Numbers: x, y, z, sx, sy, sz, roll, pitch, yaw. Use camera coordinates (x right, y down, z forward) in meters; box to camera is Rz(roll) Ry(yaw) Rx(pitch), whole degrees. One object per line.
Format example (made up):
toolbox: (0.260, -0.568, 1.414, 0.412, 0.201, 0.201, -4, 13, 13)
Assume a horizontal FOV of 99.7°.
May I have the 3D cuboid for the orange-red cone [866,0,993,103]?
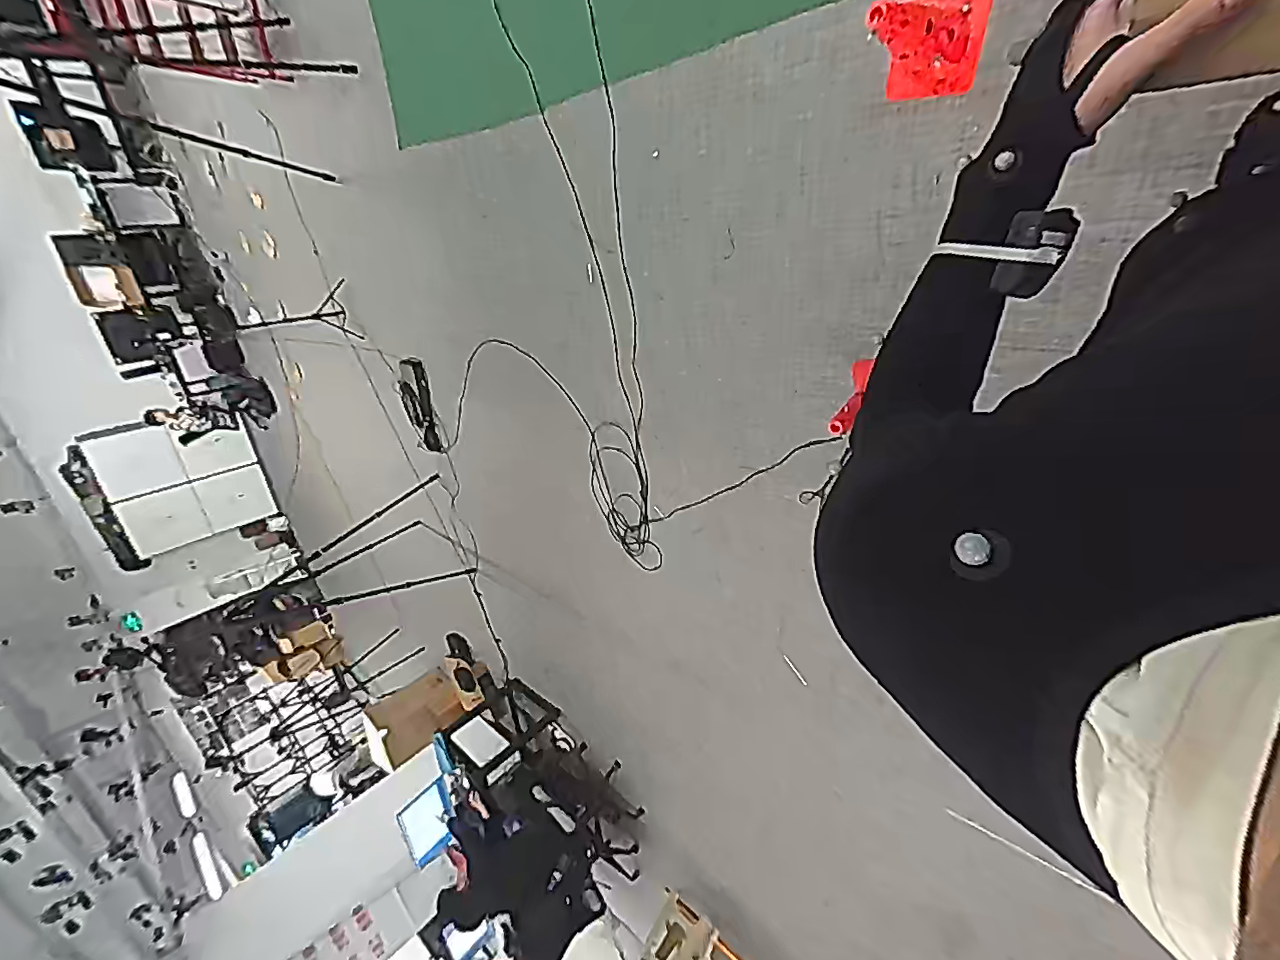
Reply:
orange-red cone: (0.567, -0.943, 1.145, 0.199, 0.360, 0.198, 26, 127, 37)
